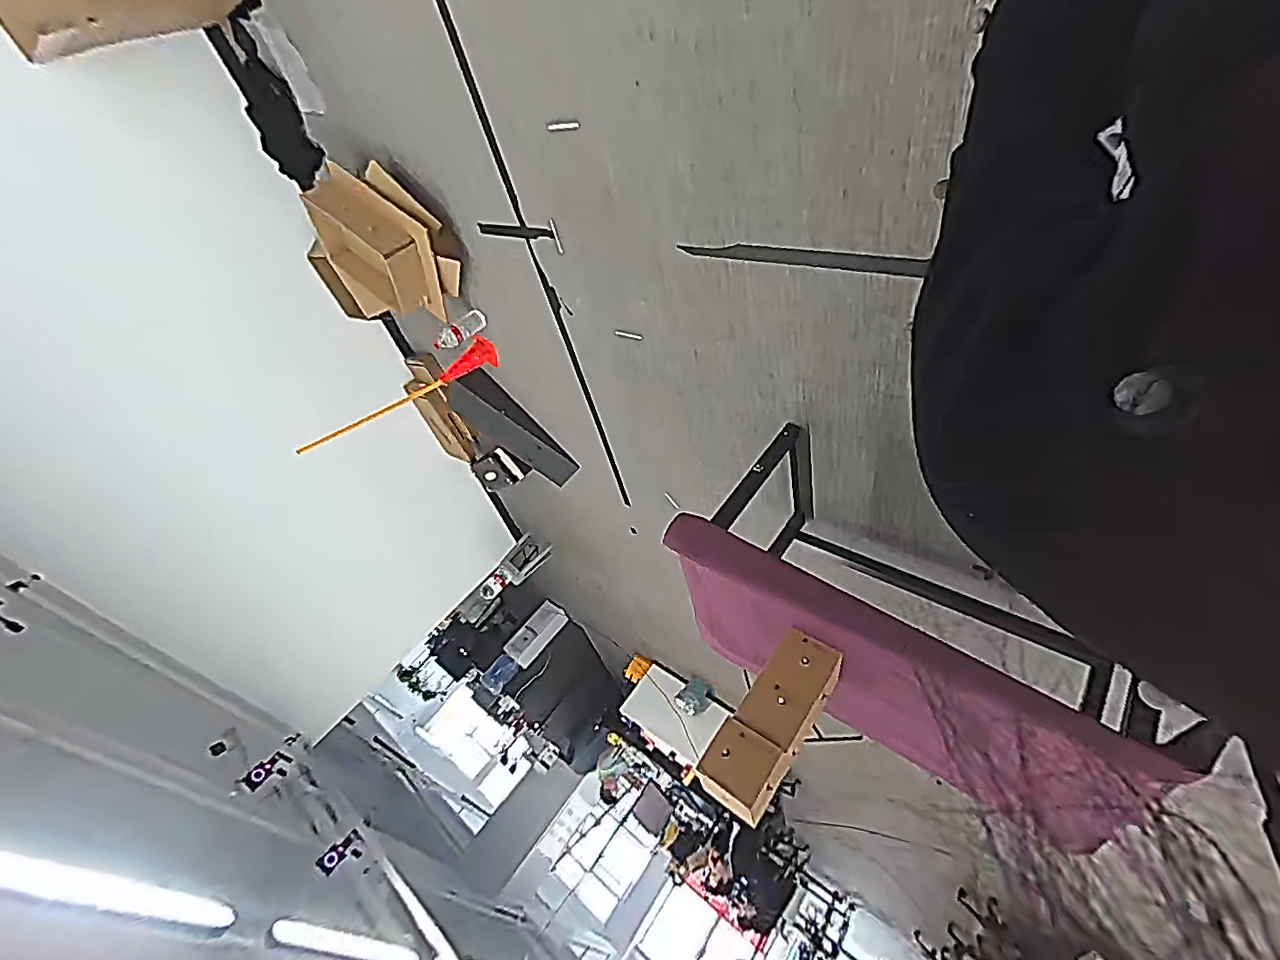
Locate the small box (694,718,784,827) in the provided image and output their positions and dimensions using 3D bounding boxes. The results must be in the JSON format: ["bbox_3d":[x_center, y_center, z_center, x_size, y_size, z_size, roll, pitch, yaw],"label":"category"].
[{"bbox_3d":[0.267,0.766,1.428,0.168,0.176,0.179,22,146,35],"label":"small box"}]

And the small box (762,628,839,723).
[{"bbox_3d":[0.471,0.569,1.590,0.168,0.176,0.179,24,147,32],"label":"small box"}]

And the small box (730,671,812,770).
[{"bbox_3d":[0.371,0.677,1.518,0.168,0.176,0.179,23,146,32],"label":"small box"}]
